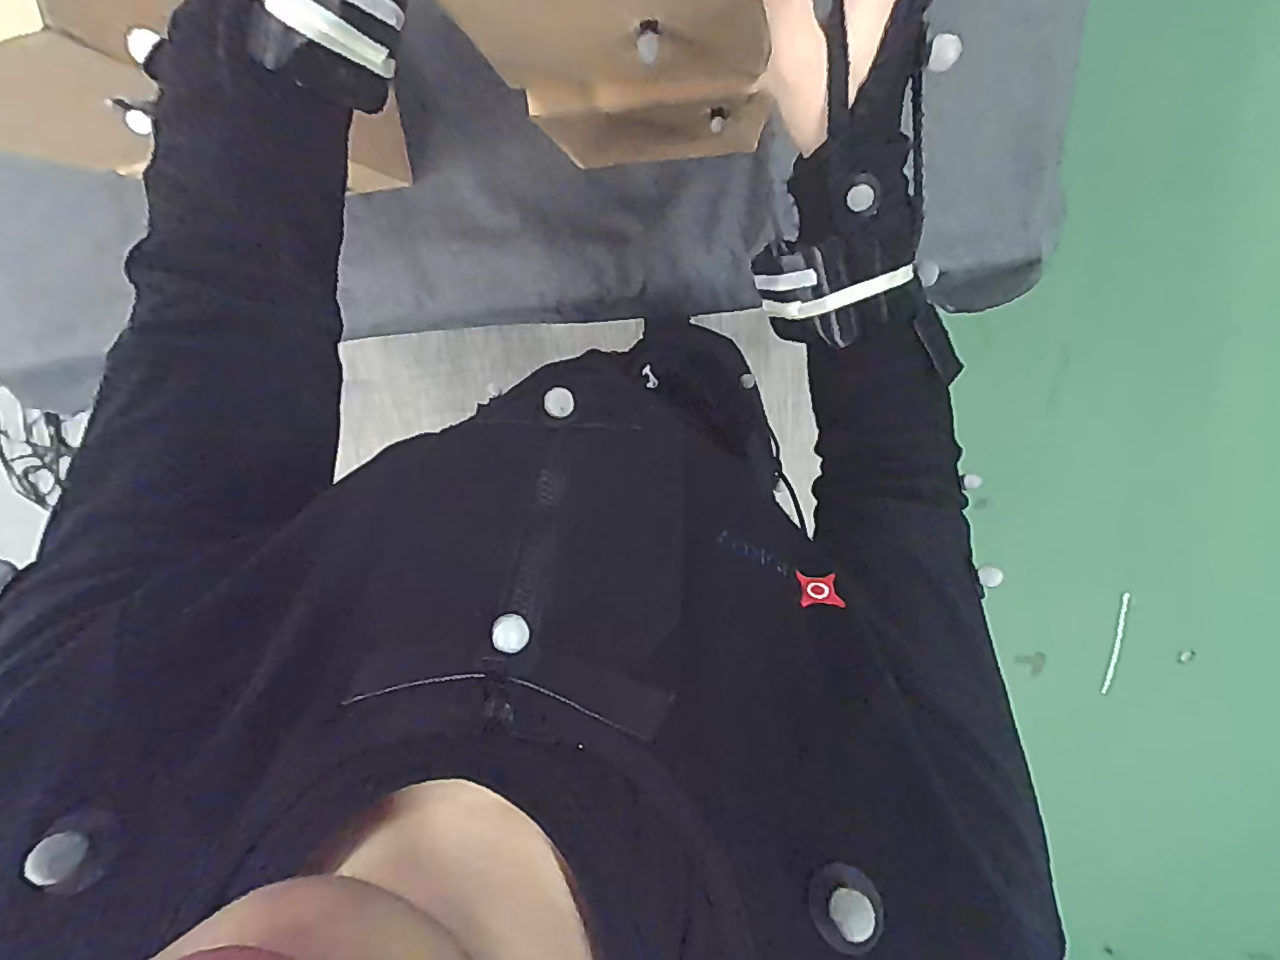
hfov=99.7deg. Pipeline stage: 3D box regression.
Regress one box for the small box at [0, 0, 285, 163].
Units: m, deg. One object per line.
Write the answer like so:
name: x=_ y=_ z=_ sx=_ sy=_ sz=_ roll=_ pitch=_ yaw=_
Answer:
small box: x=-0.347 y=-0.303 z=0.312 sx=0.179 sy=0.176 sz=0.168 roll=-5 pitch=107 yaw=8

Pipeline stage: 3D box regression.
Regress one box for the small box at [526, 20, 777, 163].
small box: x=0.010 y=-0.368 z=0.429 sx=0.179 sy=0.176 sz=0.168 roll=-2 pitch=108 yaw=6

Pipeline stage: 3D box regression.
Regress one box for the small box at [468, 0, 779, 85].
small box: x=-0.010 y=-0.327 z=0.267 sx=0.179 sy=0.176 sz=0.168 roll=0 pitch=109 yaw=5

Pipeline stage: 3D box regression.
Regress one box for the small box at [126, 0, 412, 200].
small box: x=-0.326 y=-0.357 z=0.463 sx=0.168 sy=0.176 sz=0.179 roll=-4 pitch=109 yaw=7
